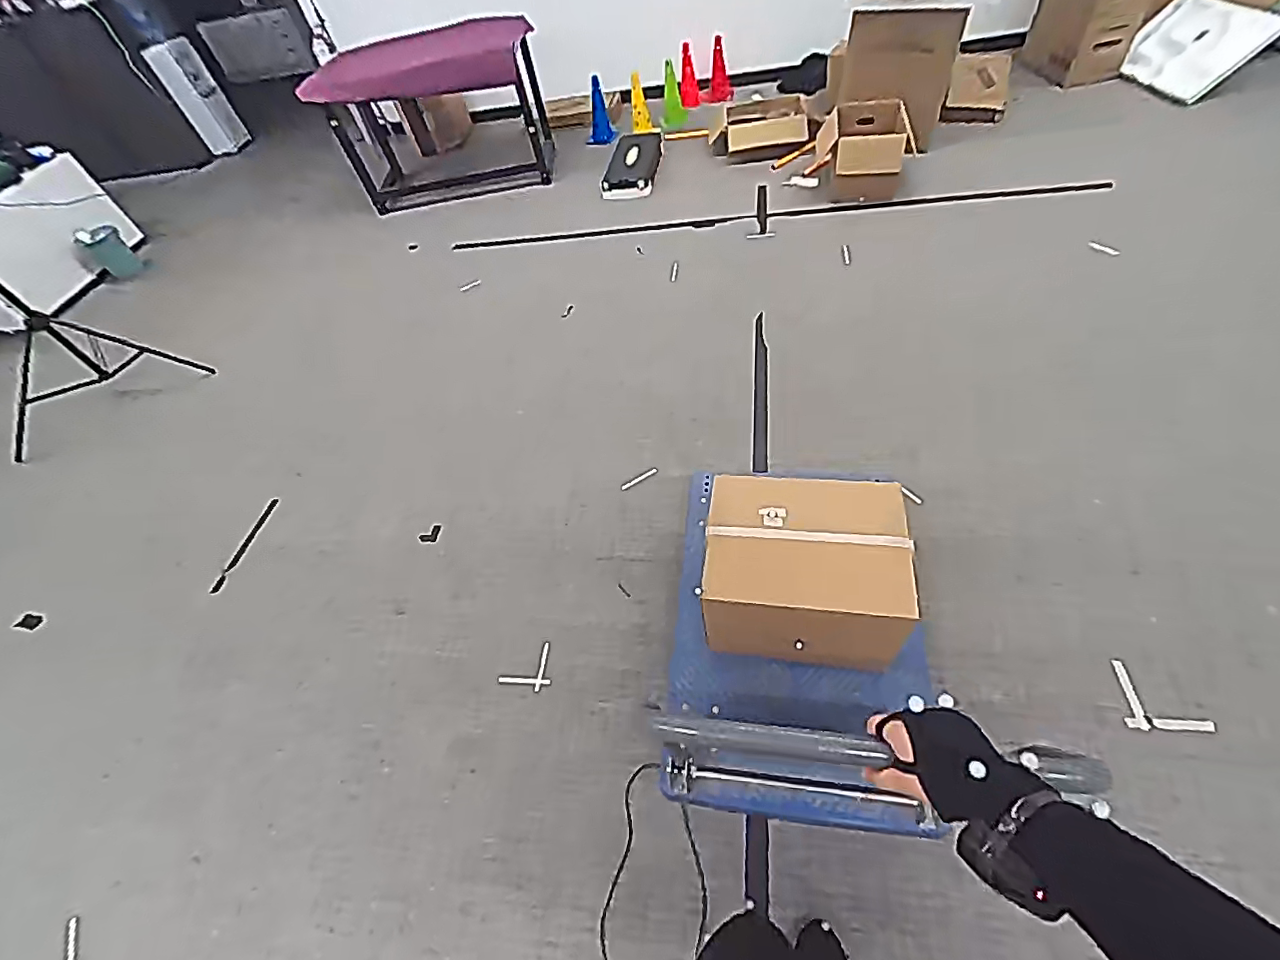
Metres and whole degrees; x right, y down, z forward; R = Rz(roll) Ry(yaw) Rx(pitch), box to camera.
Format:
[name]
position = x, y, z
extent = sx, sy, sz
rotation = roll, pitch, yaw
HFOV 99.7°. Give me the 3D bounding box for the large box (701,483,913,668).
[large box]
position = 0.367, 0.221, 1.253
extent = 0.408, 0.320, 0.320
rotation = 2, 52, 14
